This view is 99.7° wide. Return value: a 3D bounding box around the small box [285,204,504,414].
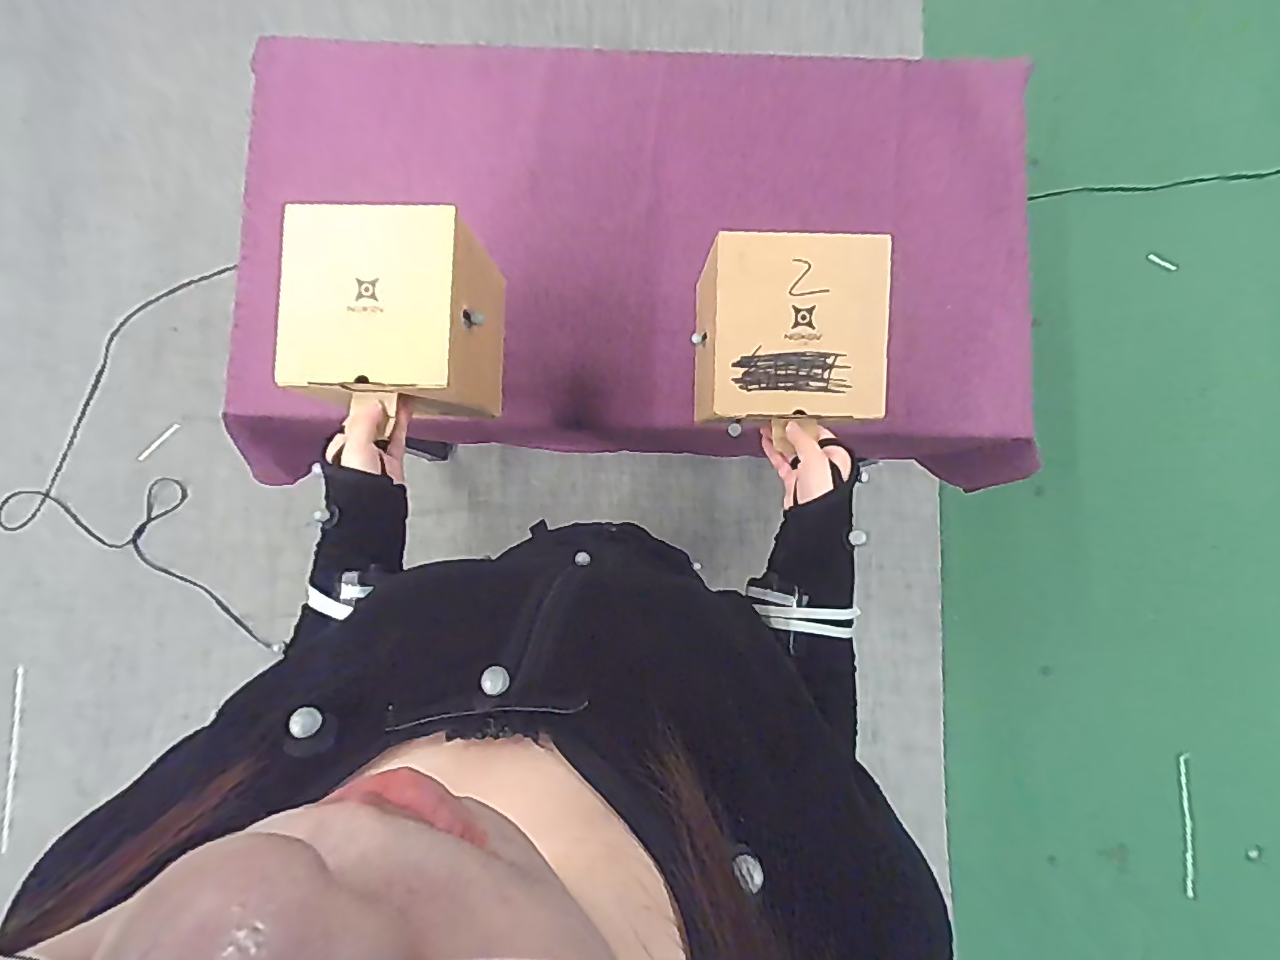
[{"bbox_3d":[-0.256,-0.177,0.604,0.168,0.176,0.179,2,88,2],"label":"small box"}]
